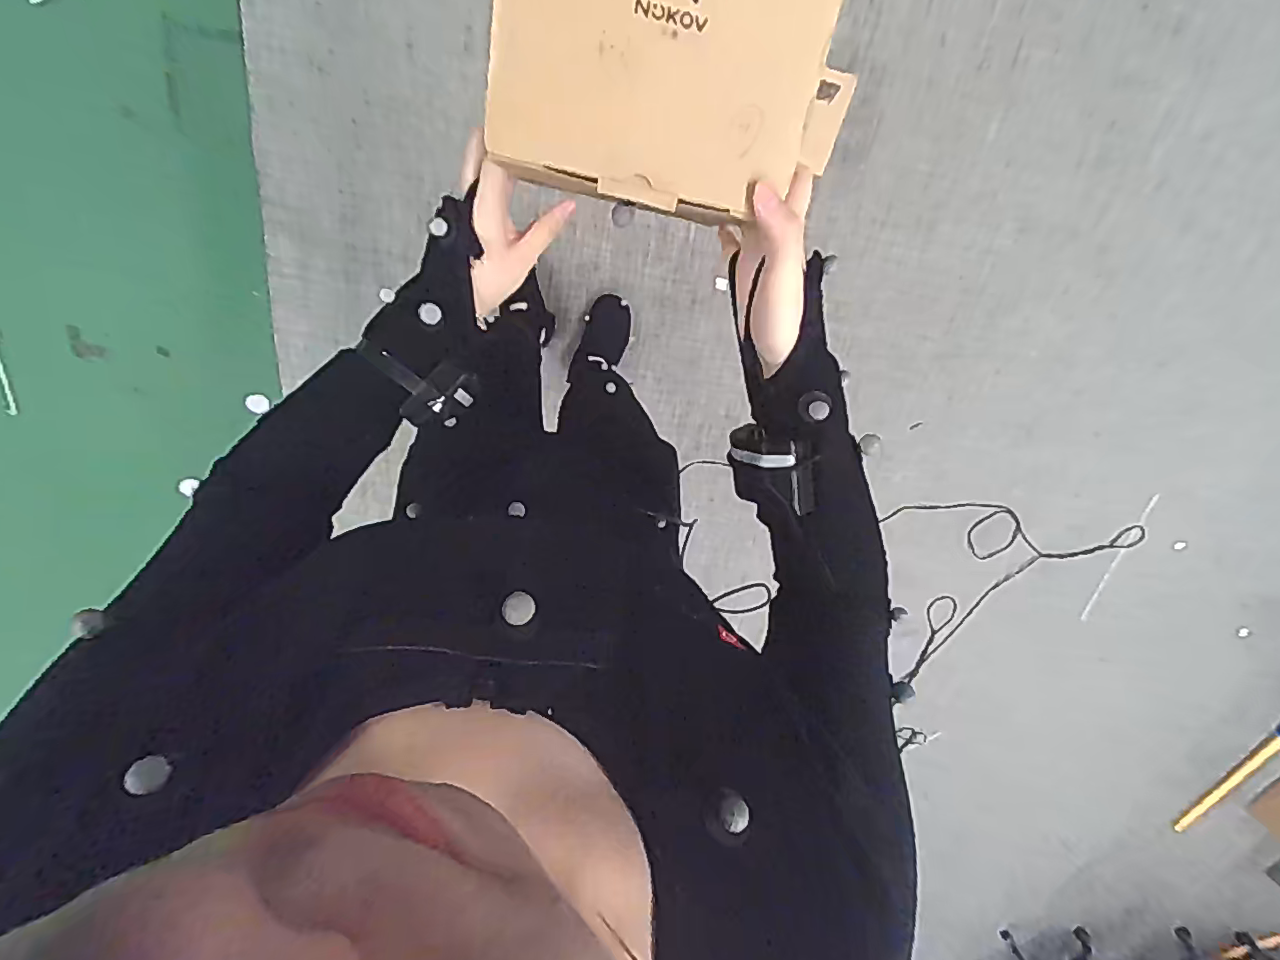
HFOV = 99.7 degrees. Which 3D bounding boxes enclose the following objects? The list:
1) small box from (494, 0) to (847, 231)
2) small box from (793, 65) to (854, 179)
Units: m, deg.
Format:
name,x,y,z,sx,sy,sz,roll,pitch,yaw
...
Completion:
name,x,y,z,sx,sy,sz,roll,pitch,yaw
small box,0.012,-0.268,0.334,0.168,0.176,0.179,8,116,-10
small box,0.304,-0.746,1.119,0.168,0.176,0.179,14,115,-10
